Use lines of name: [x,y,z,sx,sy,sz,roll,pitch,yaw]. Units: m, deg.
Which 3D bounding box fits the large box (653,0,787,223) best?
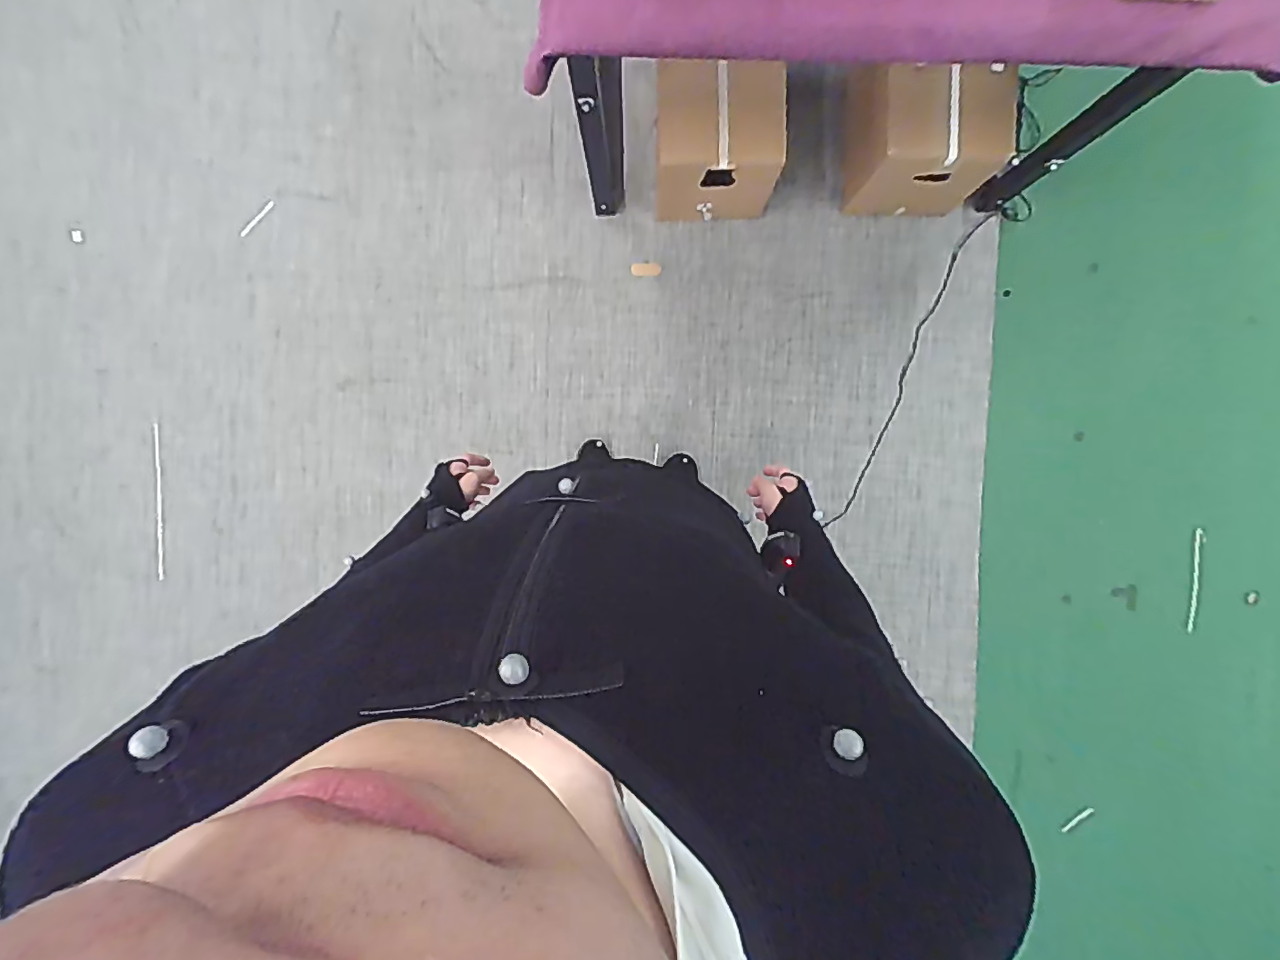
large box: [0.196,-0.961,1.451,0.320,0.320,0.408,-1,91,0]
